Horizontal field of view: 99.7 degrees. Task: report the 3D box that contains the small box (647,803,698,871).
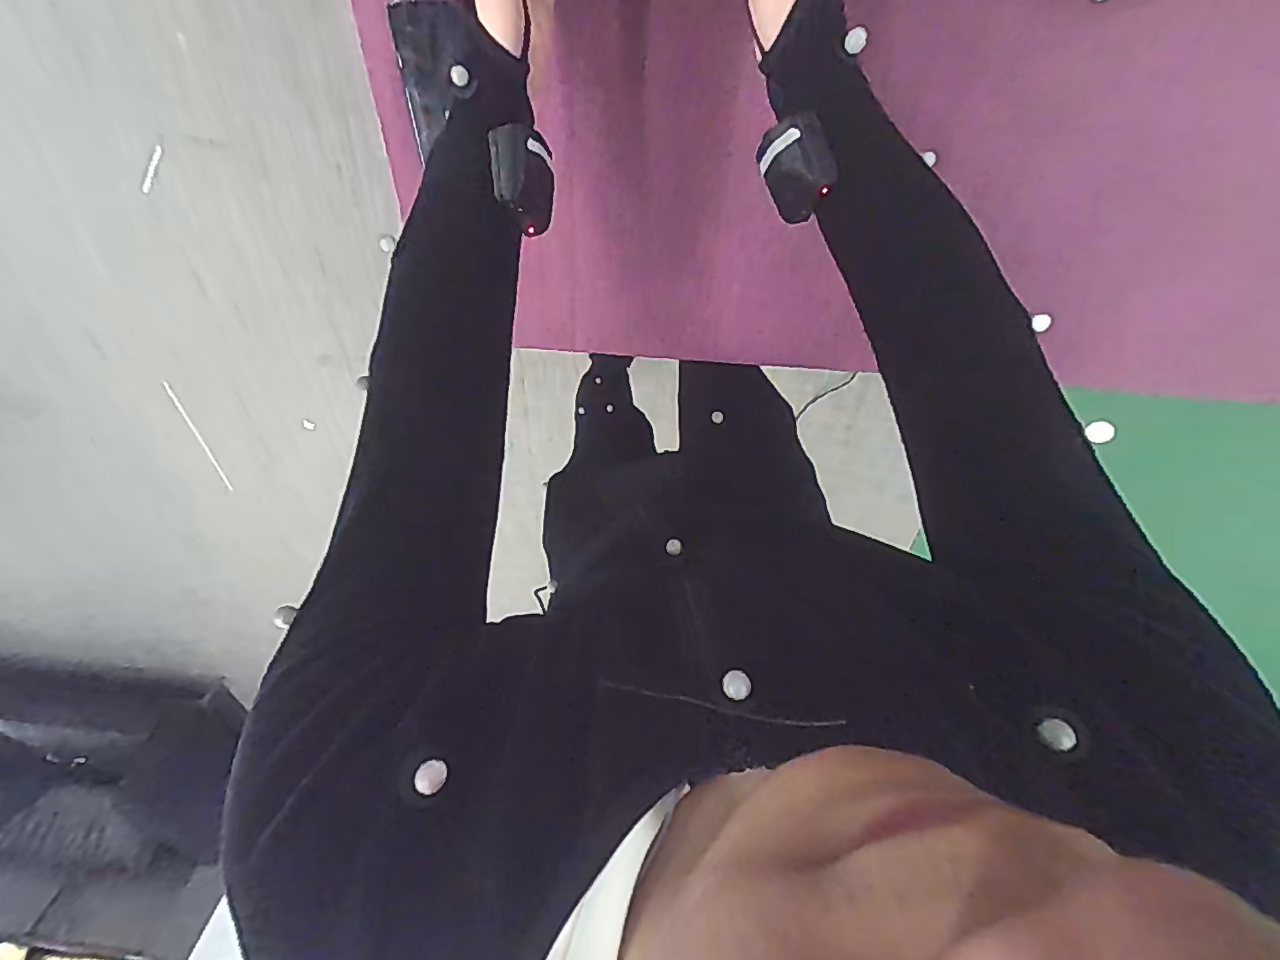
[{"bbox_3d":[0.129,1.395,2.113,0.168,0.176,0.179,11,130,-2],"label":"small box"}]
